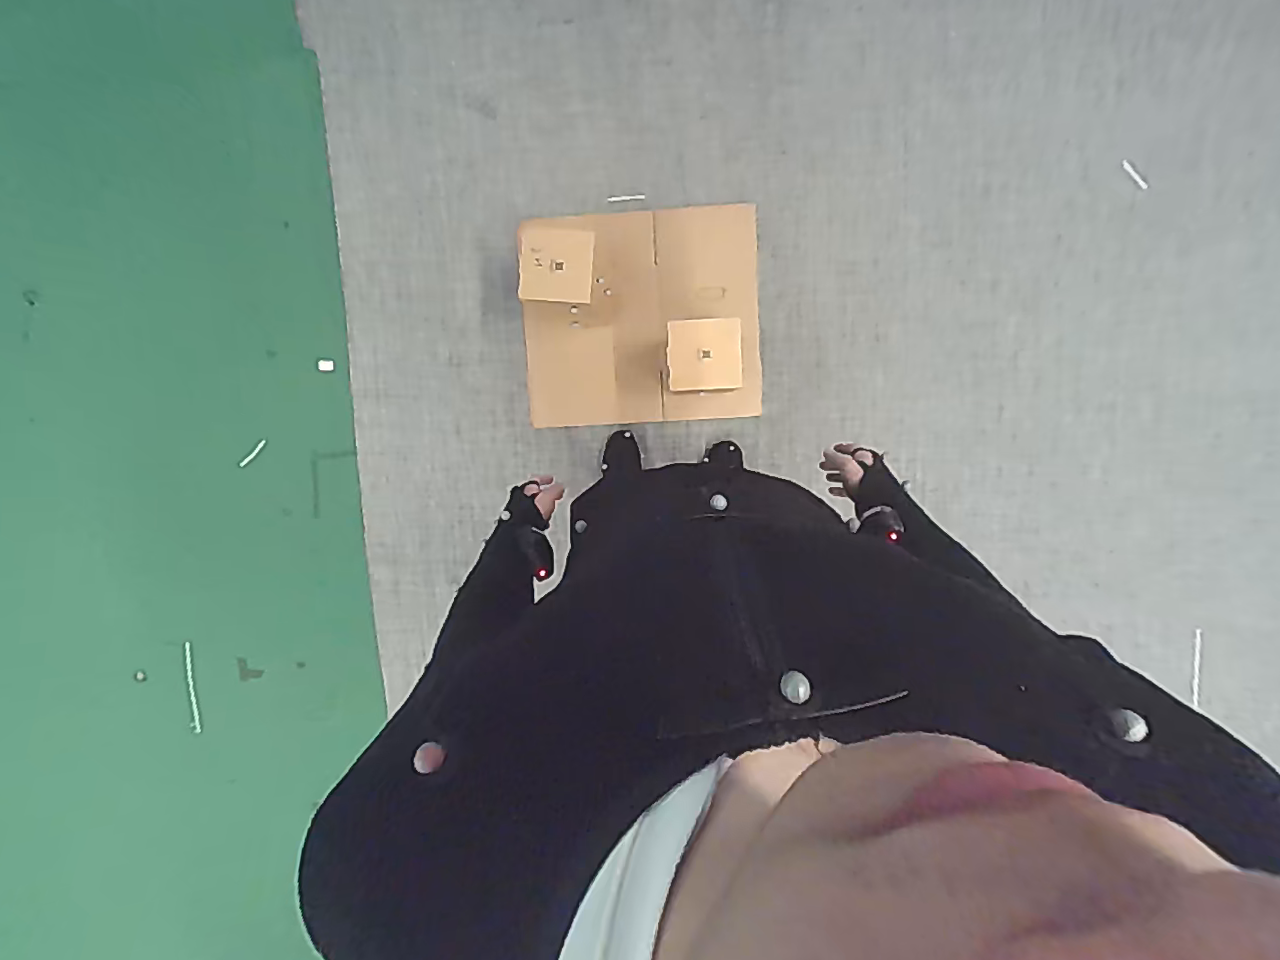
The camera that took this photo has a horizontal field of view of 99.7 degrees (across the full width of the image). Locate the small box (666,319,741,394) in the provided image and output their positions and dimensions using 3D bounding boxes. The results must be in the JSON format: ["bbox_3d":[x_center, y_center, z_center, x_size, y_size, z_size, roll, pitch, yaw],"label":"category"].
[{"bbox_3d":[0.154,-0.302,1.351,0.179,0.176,0.168,-3,96,4],"label":"small box"}]

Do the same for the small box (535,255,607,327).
[{"bbox_3d":[-0.189,-0.528,1.506,0.179,0.176,0.168,6,95,2],"label":"small box"}]

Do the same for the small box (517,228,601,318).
[{"bbox_3d":[-0.193,-0.506,1.341,0.179,0.176,0.168,5,95,2],"label":"small box"}]
